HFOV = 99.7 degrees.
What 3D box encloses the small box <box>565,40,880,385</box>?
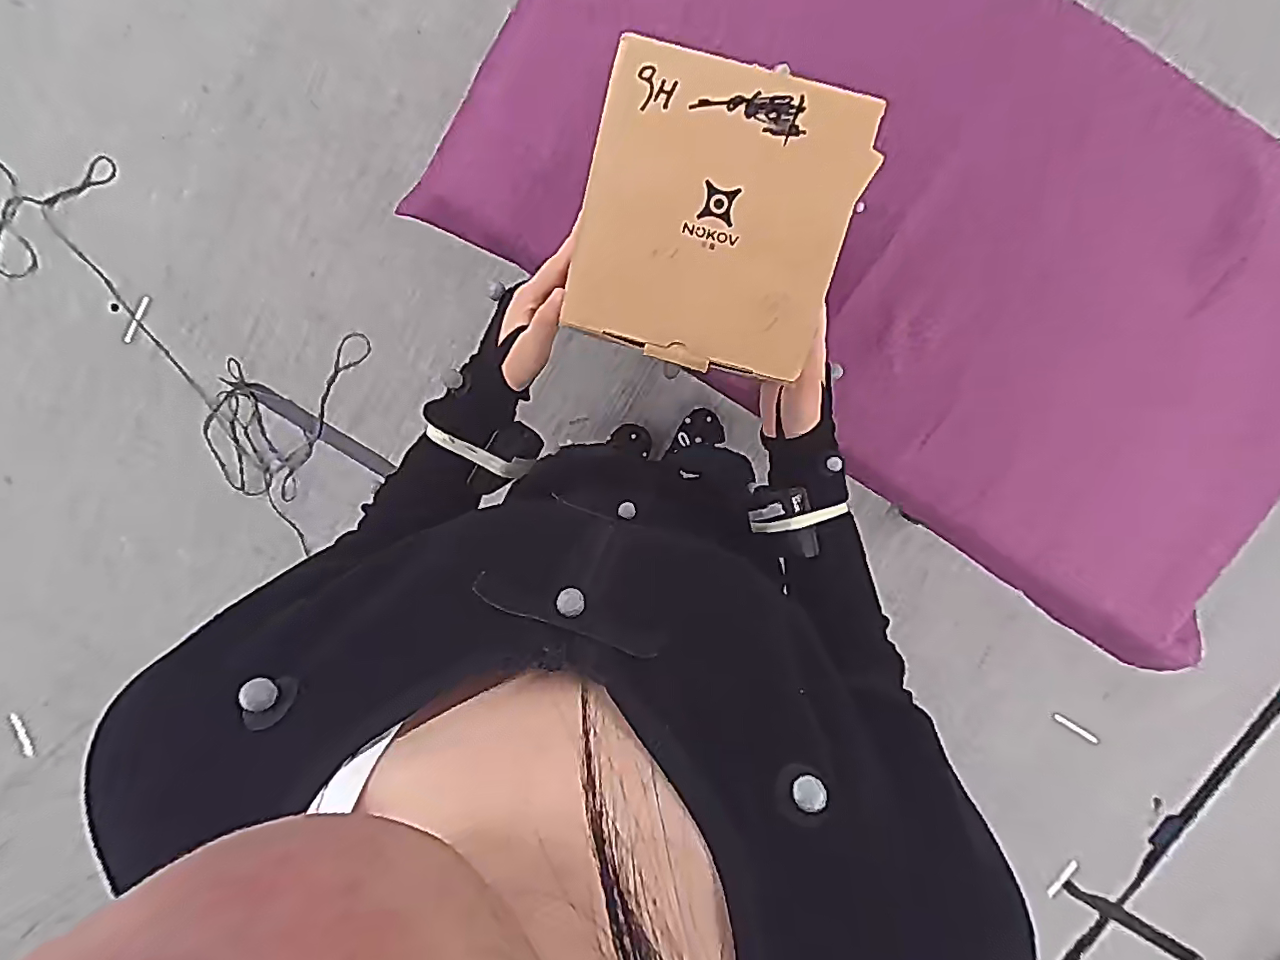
[{"bbox_3d":[0.053,-0.184,0.426,0.168,0.176,0.179,15,103,0],"label":"small box"}]
